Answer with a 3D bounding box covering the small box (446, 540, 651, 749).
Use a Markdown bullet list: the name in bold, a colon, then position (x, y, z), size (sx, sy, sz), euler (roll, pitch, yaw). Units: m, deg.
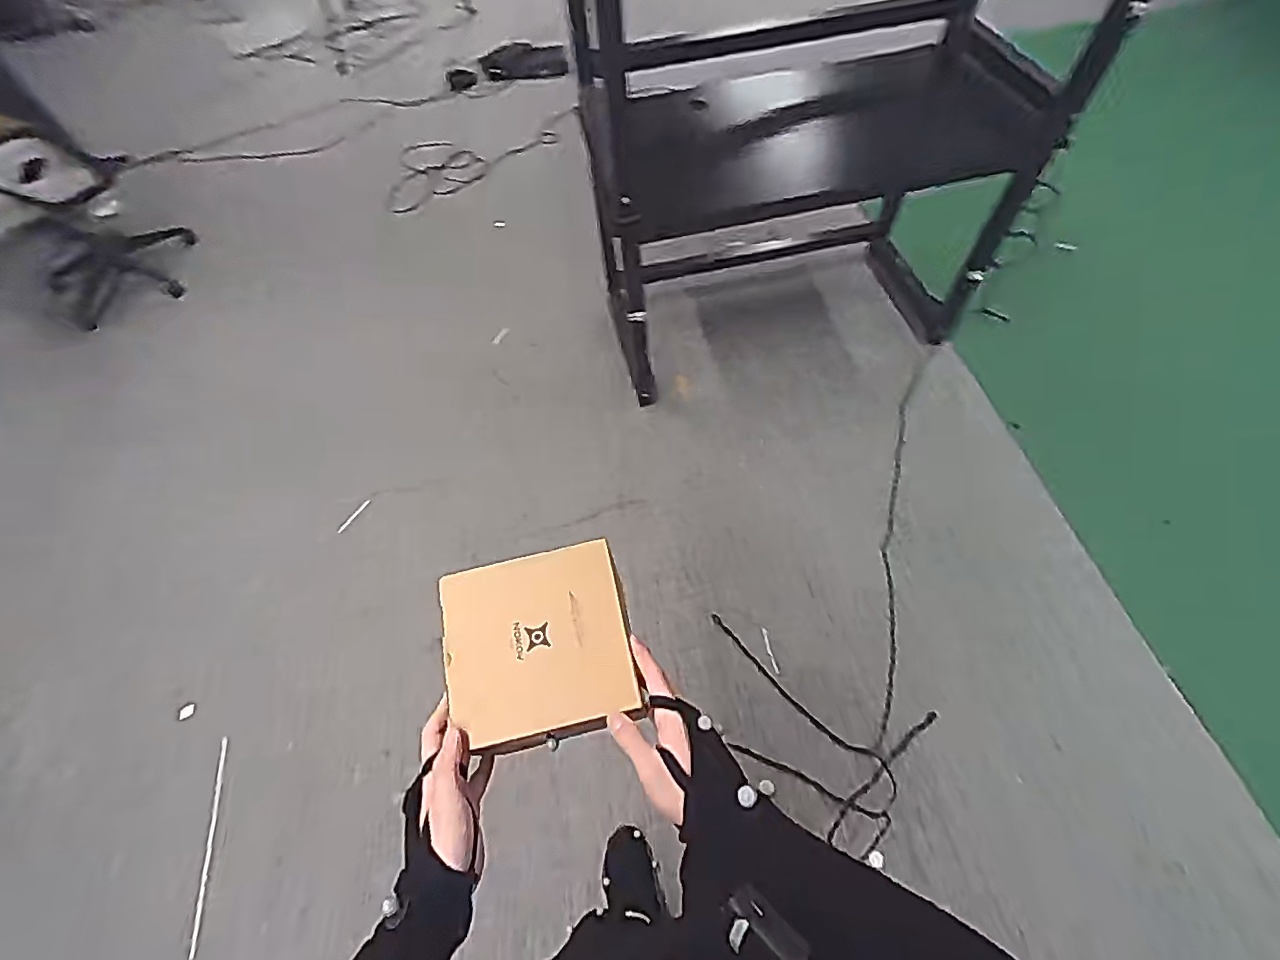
- **small box**: position (-0.091, 0.184, 0.582), size (0.179, 0.176, 0.168), euler (-12, 63, -2)
